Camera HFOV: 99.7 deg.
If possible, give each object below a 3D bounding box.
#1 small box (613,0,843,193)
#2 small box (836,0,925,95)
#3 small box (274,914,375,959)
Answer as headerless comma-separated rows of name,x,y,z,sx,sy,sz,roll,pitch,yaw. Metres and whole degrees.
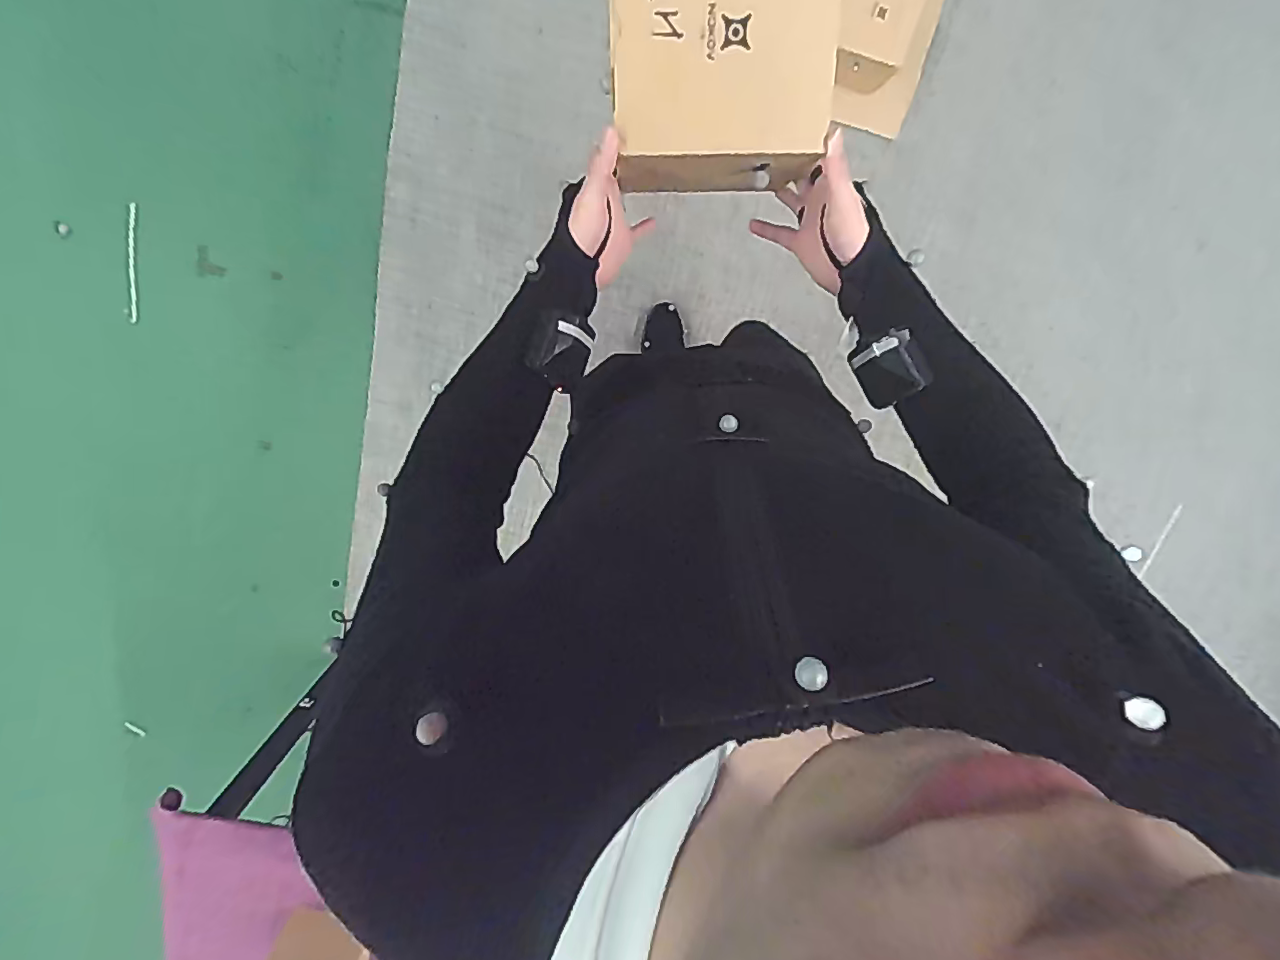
small box,0.066,-0.366,0.487,0.179,0.176,0.168,-1,108,1
small box,0.517,-1.028,1.245,0.179,0.176,0.168,15,107,-5
small box,-0.687,1.064,1.138,0.179,0.176,0.168,15,106,-5
